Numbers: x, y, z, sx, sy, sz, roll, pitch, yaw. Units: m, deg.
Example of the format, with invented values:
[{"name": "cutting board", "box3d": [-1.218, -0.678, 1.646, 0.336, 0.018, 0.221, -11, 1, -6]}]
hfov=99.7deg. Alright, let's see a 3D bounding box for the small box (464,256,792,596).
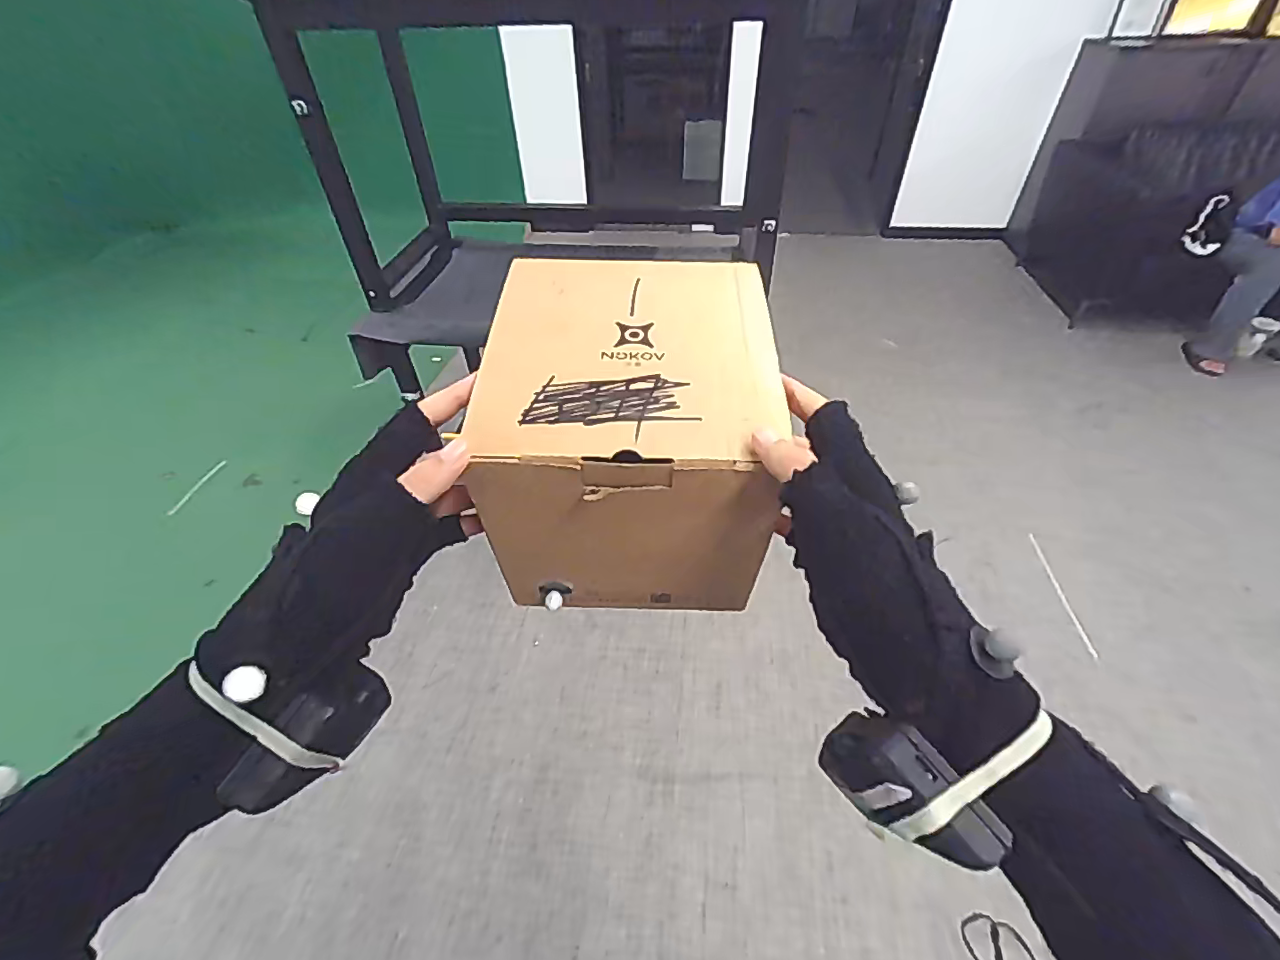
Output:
[{"name": "small box", "box3d": [-0.004, -0.033, 0.376, 0.168, 0.176, 0.179, 1, 51, 0]}]
